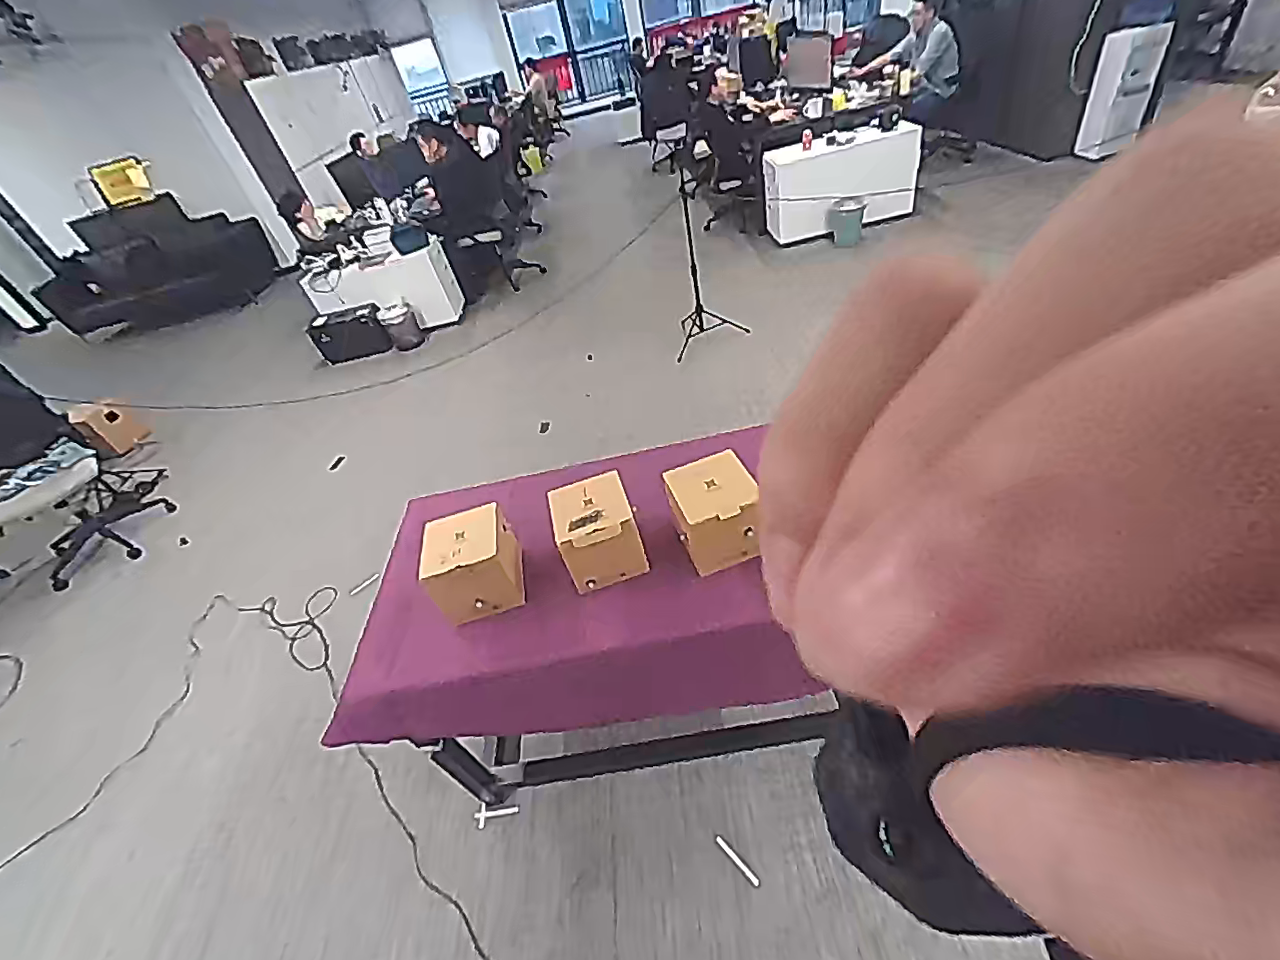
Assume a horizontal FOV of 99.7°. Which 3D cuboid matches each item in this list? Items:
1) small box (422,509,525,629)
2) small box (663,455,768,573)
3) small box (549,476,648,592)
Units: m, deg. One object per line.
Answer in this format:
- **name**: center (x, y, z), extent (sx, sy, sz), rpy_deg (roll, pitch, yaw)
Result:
- **small box**: center (-0.364, 0.198, 1.208), extent (0.168, 0.176, 0.179), rpy_deg (-18, 40, -2)
- **small box**: center (0.166, 0.080, 1.174), extent (0.168, 0.176, 0.179), rpy_deg (-20, 40, -5)
- **small box**: center (-0.090, 0.126, 1.203), extent (0.168, 0.176, 0.179), rpy_deg (-18, 39, -3)
